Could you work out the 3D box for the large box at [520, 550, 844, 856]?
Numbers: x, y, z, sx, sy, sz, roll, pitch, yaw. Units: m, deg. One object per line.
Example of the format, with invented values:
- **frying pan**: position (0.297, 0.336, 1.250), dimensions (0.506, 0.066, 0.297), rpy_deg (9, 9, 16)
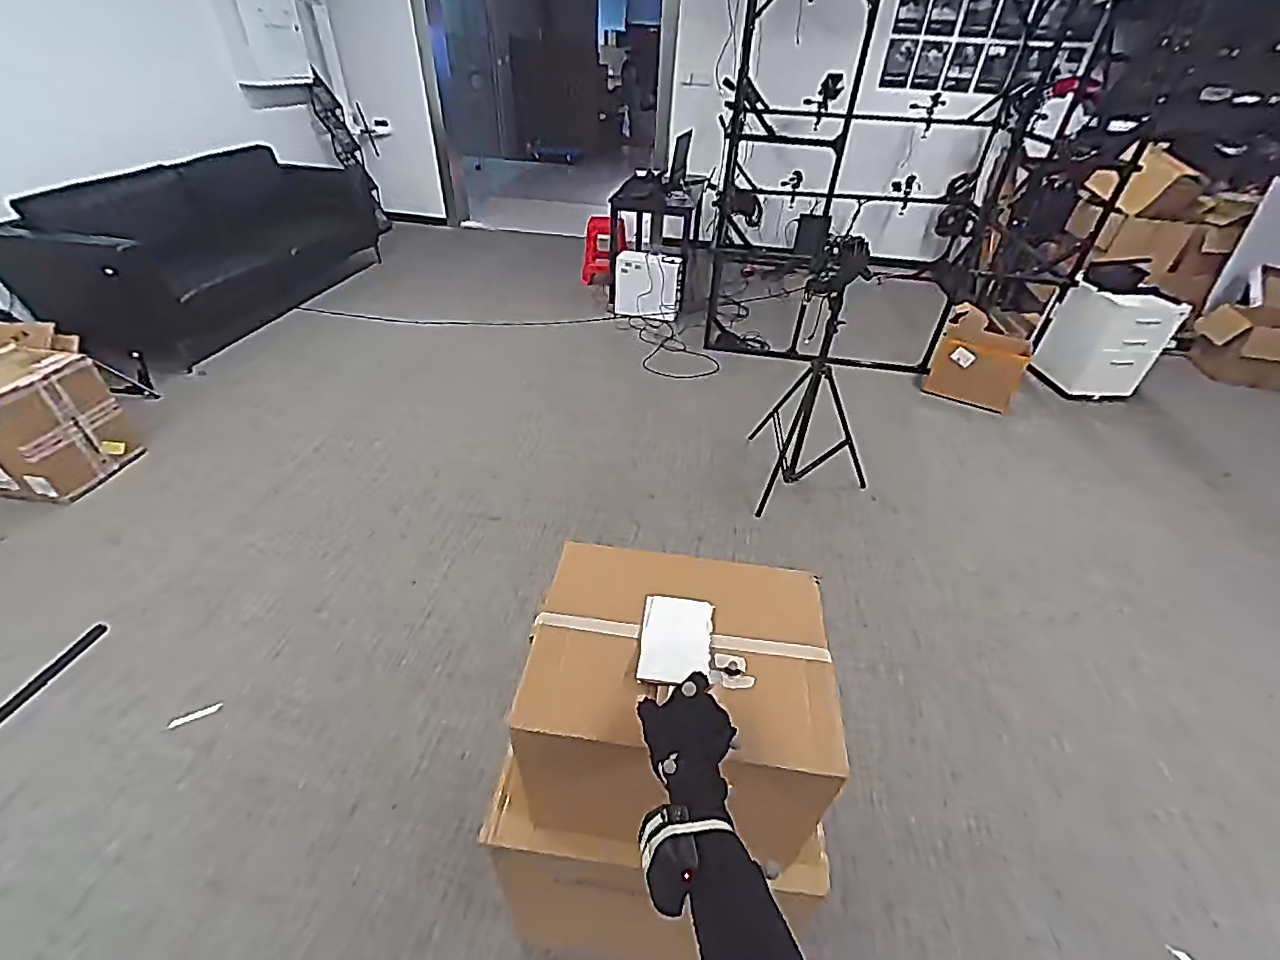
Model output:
- **large box**: position (0.053, 0.346, 0.858), dimensions (0.408, 0.320, 0.320), rpy_deg (7, 39, 3)
